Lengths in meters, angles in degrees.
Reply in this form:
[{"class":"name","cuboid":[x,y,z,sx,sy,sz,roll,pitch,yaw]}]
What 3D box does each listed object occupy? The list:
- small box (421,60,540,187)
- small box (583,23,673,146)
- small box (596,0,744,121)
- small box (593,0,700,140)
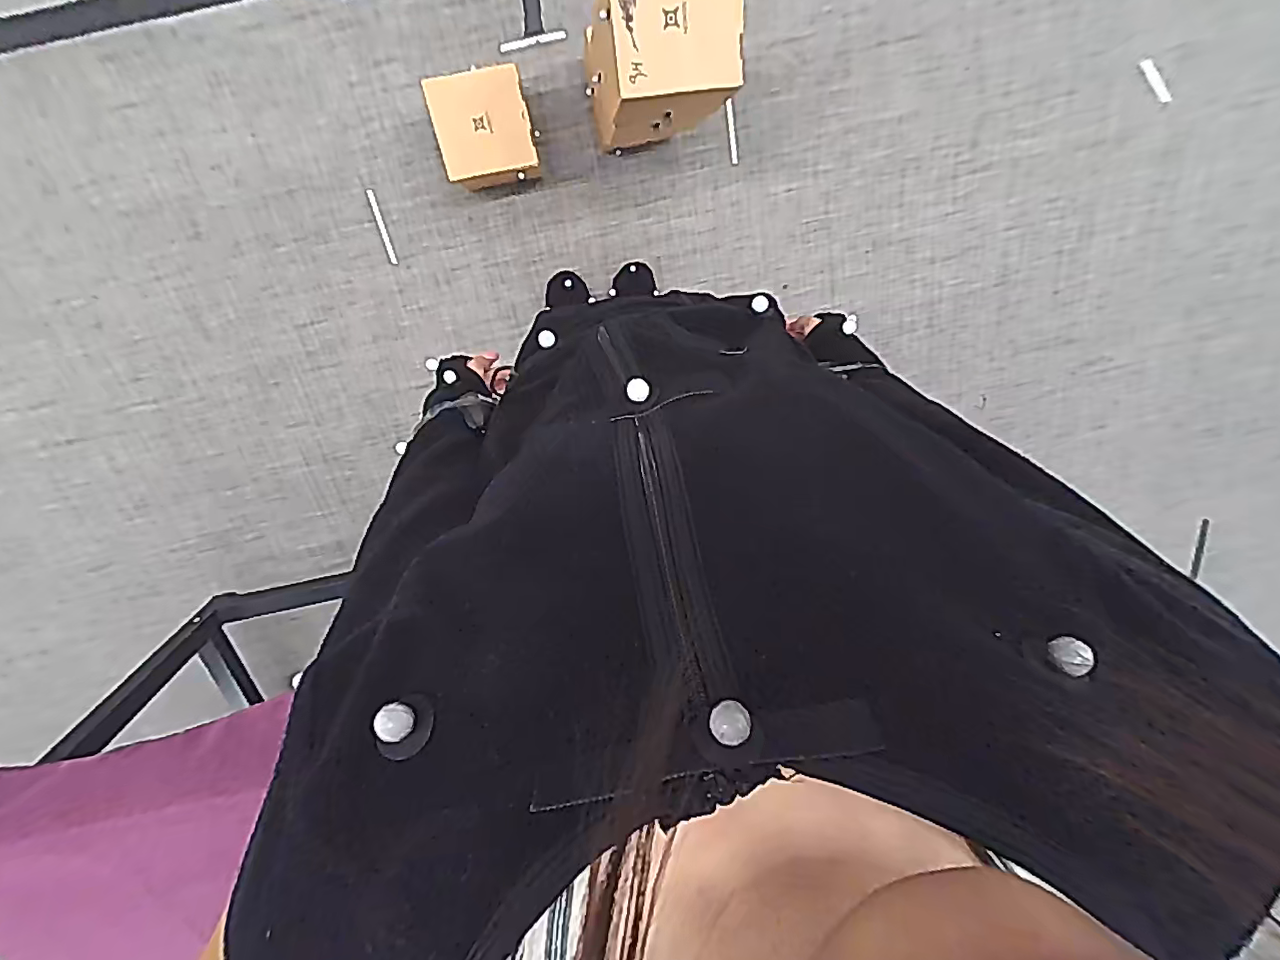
[{"class":"small box","cuboid":[-0.304,-0.693,1.069,0.179,0.176,0.168,-13,114,-3]},{"class":"small box","cuboid":[-0.013,-0.782,1.071,0.168,0.176,0.179,-14,113,-3]},{"class":"small box","cuboid":[0.039,-0.636,0.780,0.179,0.176,0.168,-9,114,-5]},{"class":"small box","cuboid":[0.017,-0.703,0.929,0.179,0.176,0.168,-12,115,-4]}]
